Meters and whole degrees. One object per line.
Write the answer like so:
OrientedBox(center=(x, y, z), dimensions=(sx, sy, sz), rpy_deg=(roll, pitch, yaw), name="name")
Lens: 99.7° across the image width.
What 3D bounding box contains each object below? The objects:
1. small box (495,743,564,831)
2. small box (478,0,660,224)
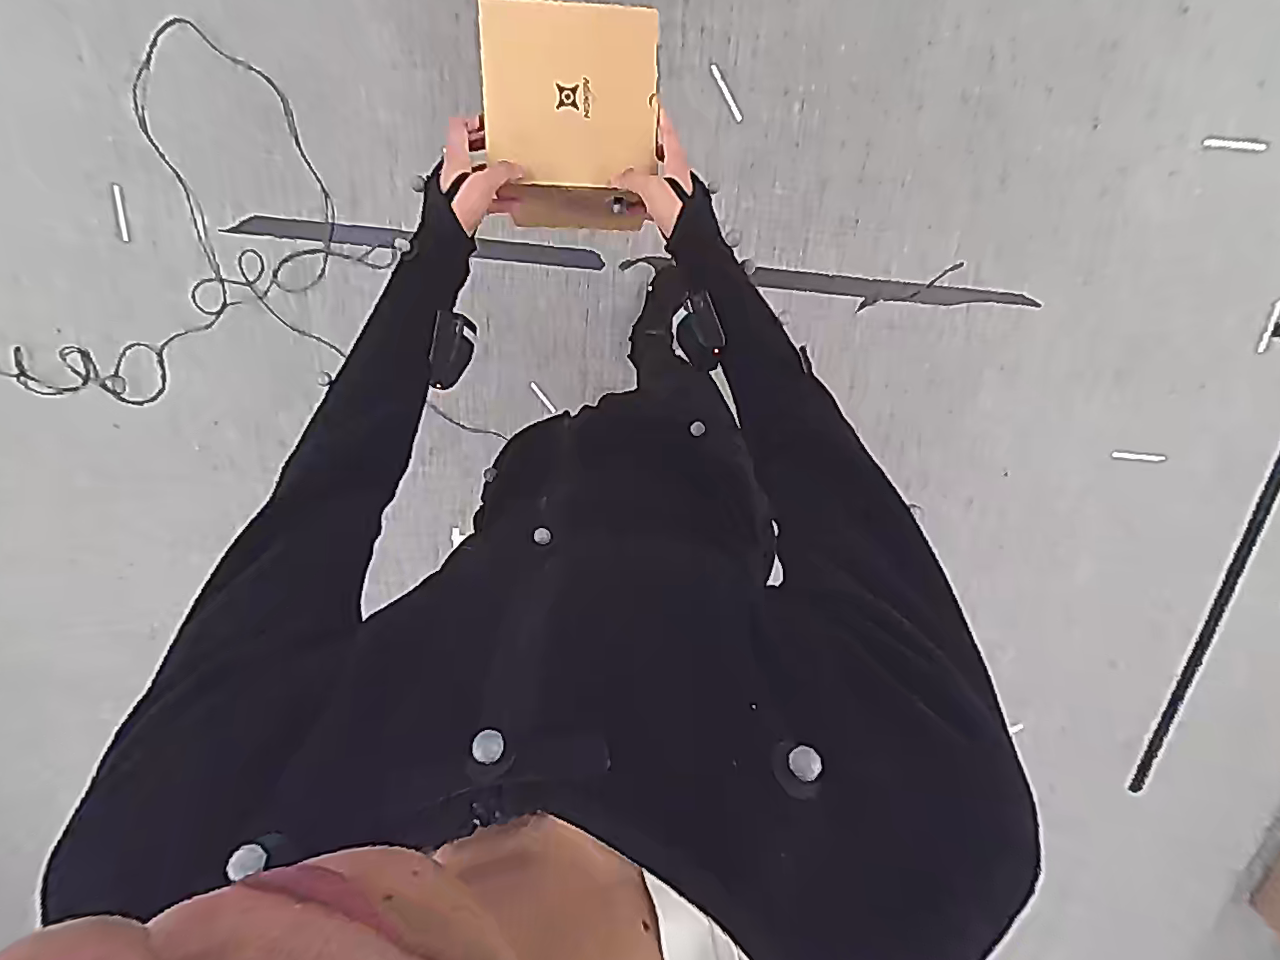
OrientedBox(center=(-0.345, 0.961, 1.703), dimensions=(0.179, 0.176, 0.168), rpy_deg=(7, 108, 0), name="small box")
OrientedBox(center=(-0.076, -0.399, 0.611), dimensions=(0.179, 0.176, 0.168), rpy_deg=(-1, 102, -7), name="small box")
